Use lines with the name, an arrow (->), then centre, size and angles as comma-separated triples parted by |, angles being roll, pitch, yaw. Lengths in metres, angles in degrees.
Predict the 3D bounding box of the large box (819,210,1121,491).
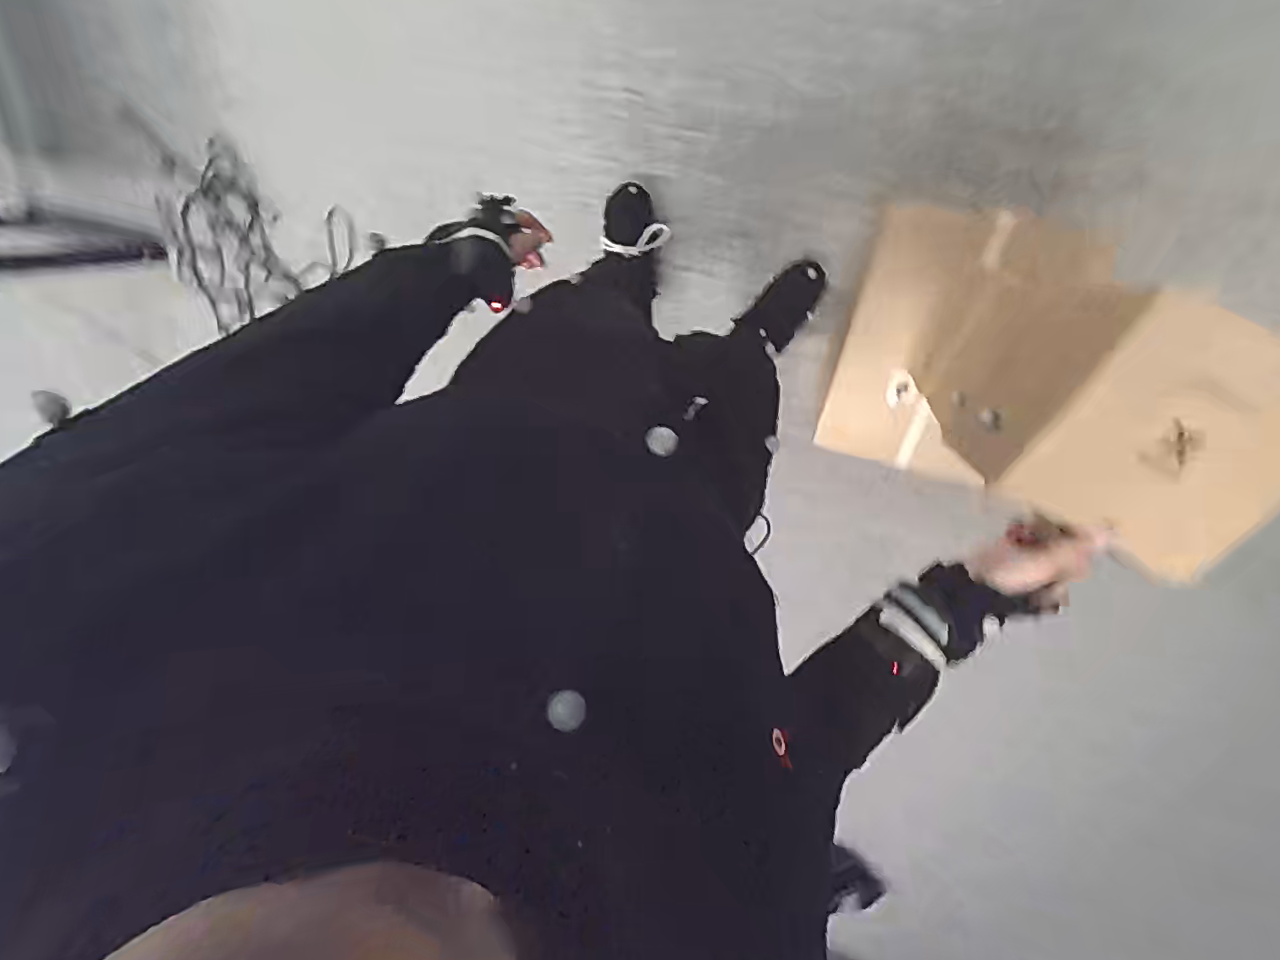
large box -> 0.543, -0.255, 0.999 | 0.320, 0.320, 0.408 | 17, 121, 11

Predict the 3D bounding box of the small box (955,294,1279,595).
small box -> 0.411, -0.041, 0.470 | 0.168, 0.176, 0.179 | 30, 111, 3
